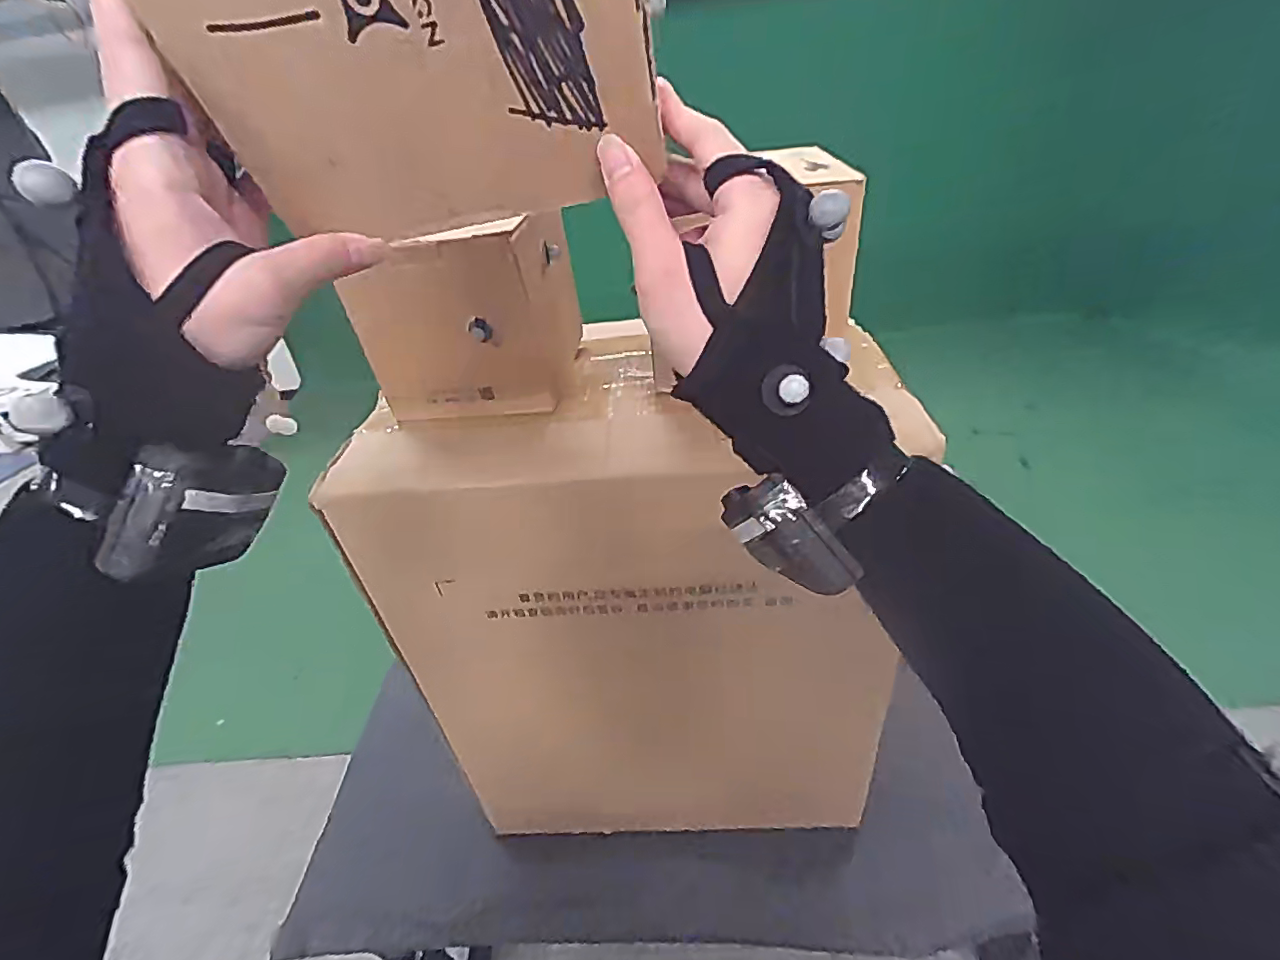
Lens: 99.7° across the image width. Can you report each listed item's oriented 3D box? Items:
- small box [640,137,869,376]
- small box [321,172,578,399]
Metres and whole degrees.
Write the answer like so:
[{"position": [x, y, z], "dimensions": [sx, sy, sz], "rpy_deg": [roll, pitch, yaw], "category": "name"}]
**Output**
[{"position": [0.097, -0.211, 0.517], "dimensions": [0.179, 0.176, 0.168], "rpy_deg": [-5, 38, 4], "category": "small box"}, {"position": [-0.161, -0.190, 0.533], "dimensions": [0.168, 0.176, 0.179], "rpy_deg": [-1, 37, 5], "category": "small box"}]
